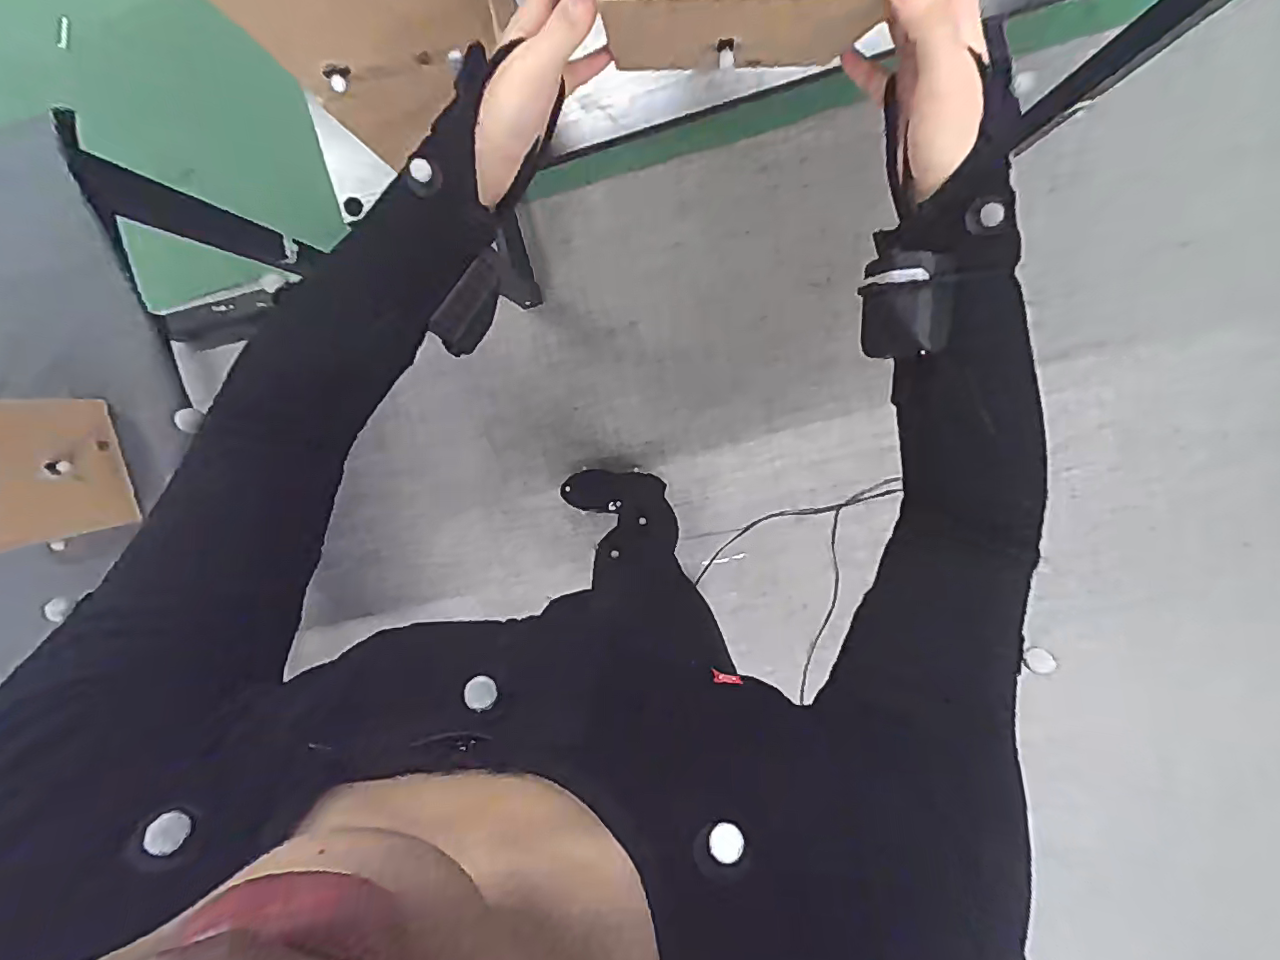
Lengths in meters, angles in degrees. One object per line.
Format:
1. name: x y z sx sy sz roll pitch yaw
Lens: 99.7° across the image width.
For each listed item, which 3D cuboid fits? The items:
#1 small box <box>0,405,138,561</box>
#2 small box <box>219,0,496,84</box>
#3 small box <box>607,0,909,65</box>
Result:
1. small box: -0.759 0.006 0.644 0.179 0.176 0.168 -10 98 6
2. small box: -0.216 -0.417 0.376 0.168 0.176 0.179 -11 96 4
3. small box: 0.065 -0.361 0.313 0.168 0.176 0.179 -1 117 2
